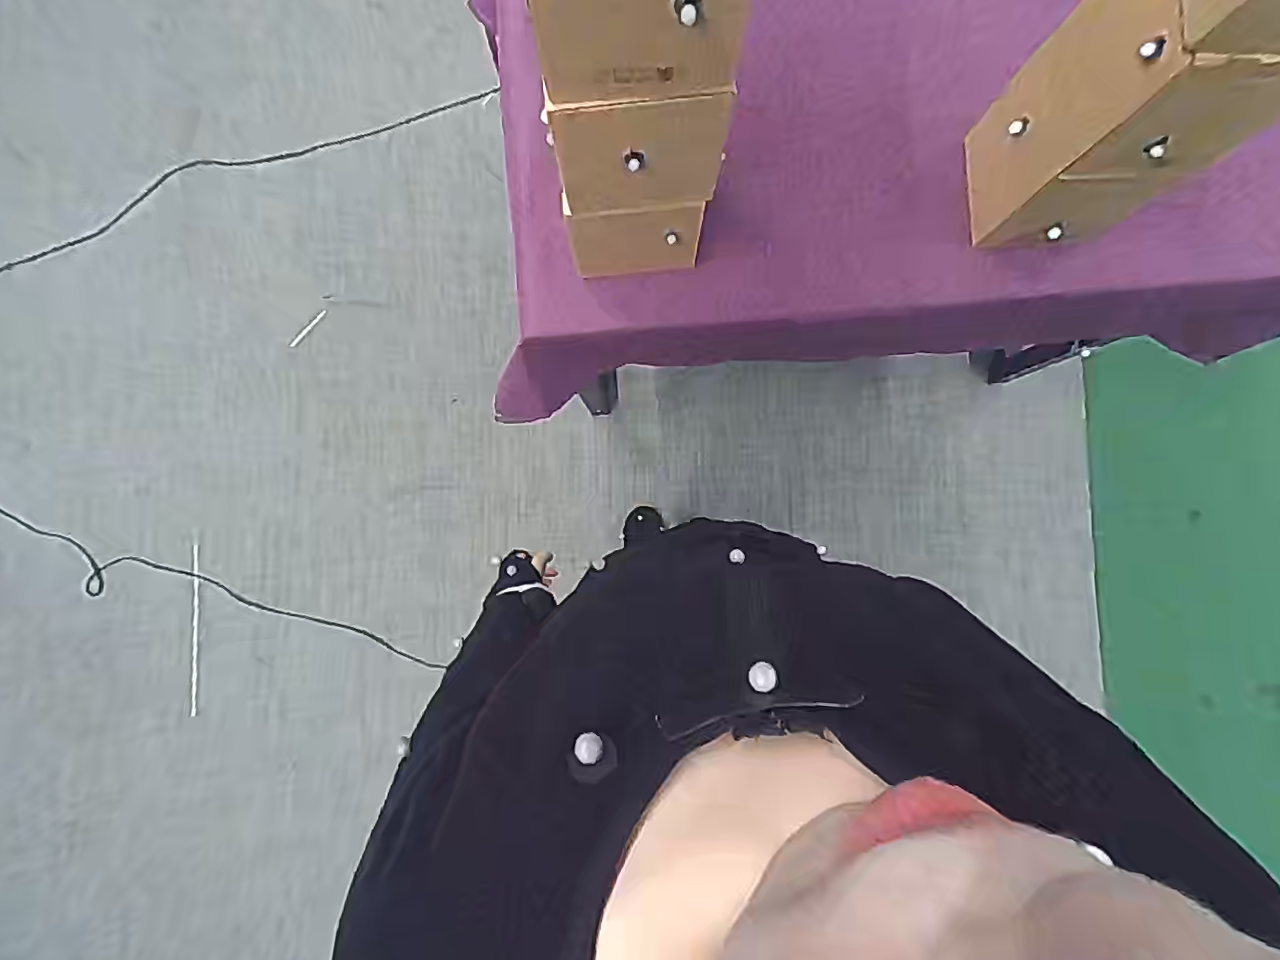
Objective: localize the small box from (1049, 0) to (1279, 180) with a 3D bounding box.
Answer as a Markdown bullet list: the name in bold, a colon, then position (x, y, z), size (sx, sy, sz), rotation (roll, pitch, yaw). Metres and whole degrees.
- **small box**: position (0.568, -0.447, 0.564), size (0.168, 0.176, 0.179), rotation (-1, 87, 1)

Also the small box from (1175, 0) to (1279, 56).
- **small box**: position (0.563, -0.456, 0.400), size (0.179, 0.176, 0.168), rotation (1, 86, 0)

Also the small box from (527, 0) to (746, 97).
- **small box**: position (-0.003, -0.429, 0.412), size (0.168, 0.176, 0.179), rotation (-2, 85, -1)

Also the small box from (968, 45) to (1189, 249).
- **small box**: position (0.569, -0.436, 0.727), size (0.168, 0.176, 0.179), rotation (-1, 86, 2)

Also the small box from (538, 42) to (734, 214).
- **small box**: position (-0.007, -0.410, 0.574), size (0.179, 0.176, 0.168), rotation (-6, 86, 1)
